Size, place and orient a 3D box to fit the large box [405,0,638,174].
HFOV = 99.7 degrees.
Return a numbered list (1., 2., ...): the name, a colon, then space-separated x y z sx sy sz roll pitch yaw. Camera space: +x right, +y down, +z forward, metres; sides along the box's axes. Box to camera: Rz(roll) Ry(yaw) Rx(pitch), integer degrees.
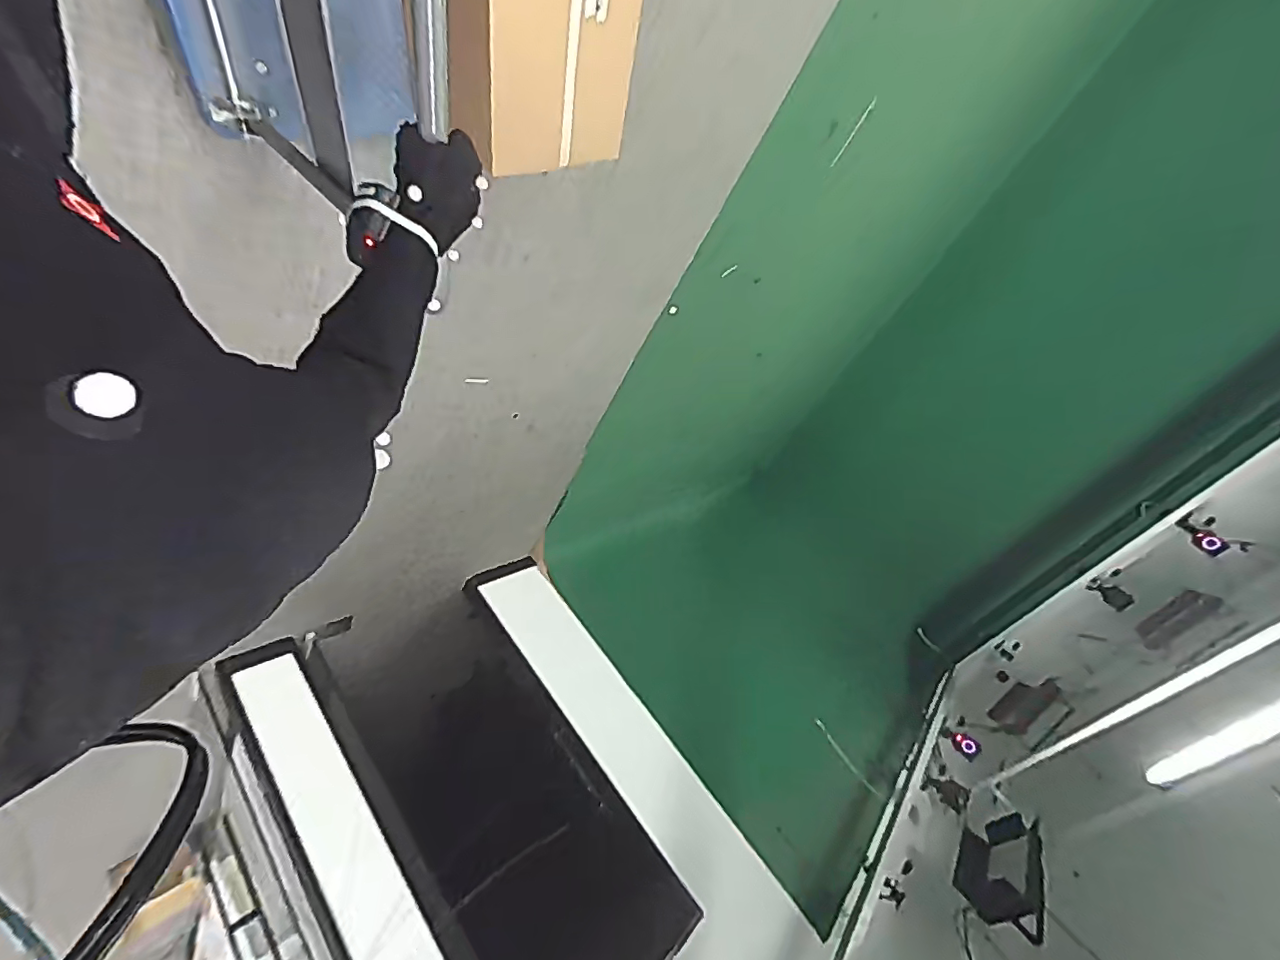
1. large box: -0.223 -0.856 0.997 0.320 0.320 0.408 -30 154 -31
